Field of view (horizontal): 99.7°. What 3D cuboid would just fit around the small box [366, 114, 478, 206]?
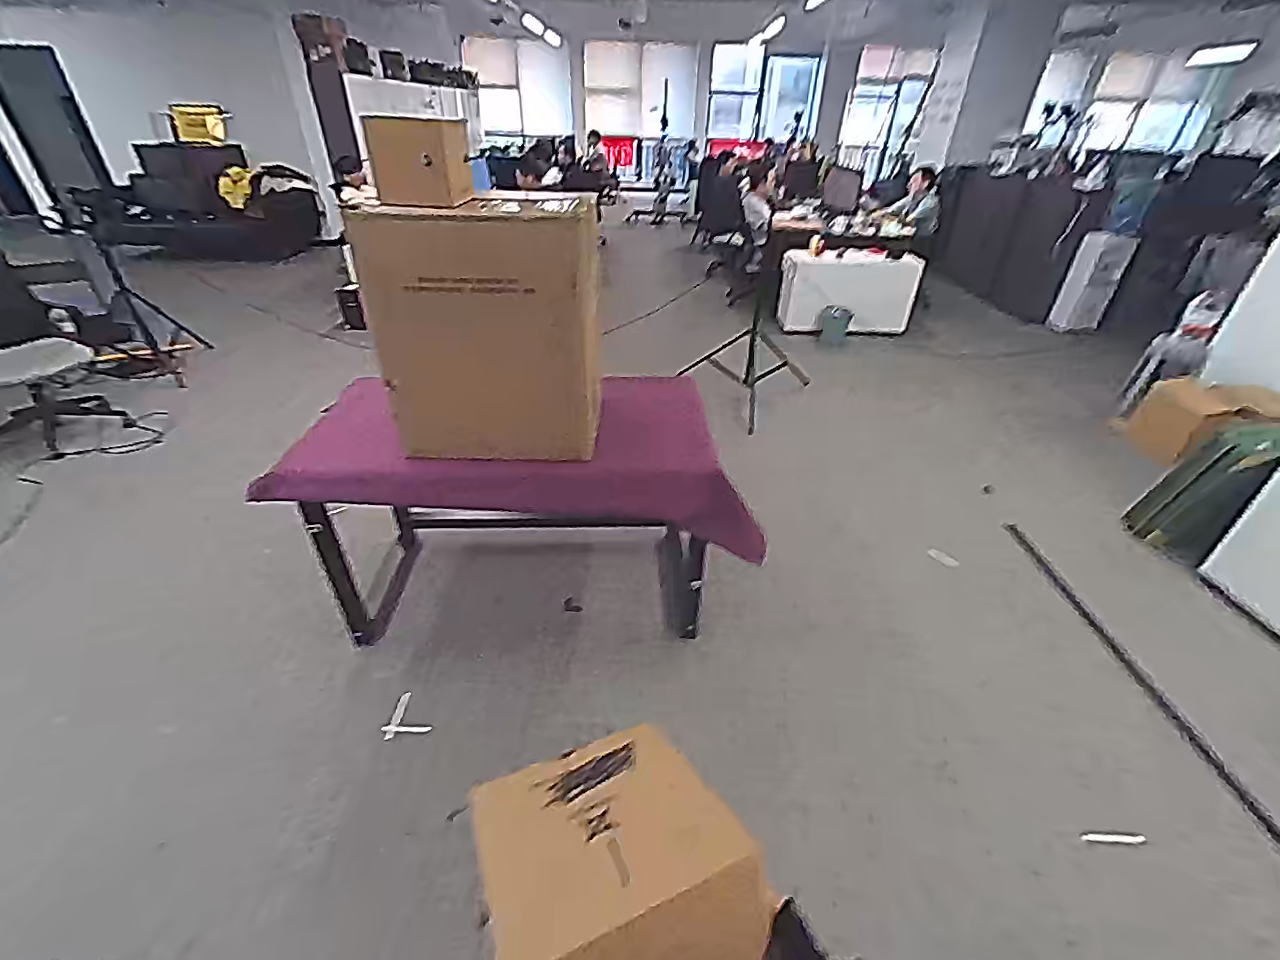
[{"bbox_3d":[-0.481,-0.727,1.227,0.179,0.176,0.168,2,33,2],"label":"small box"}]
